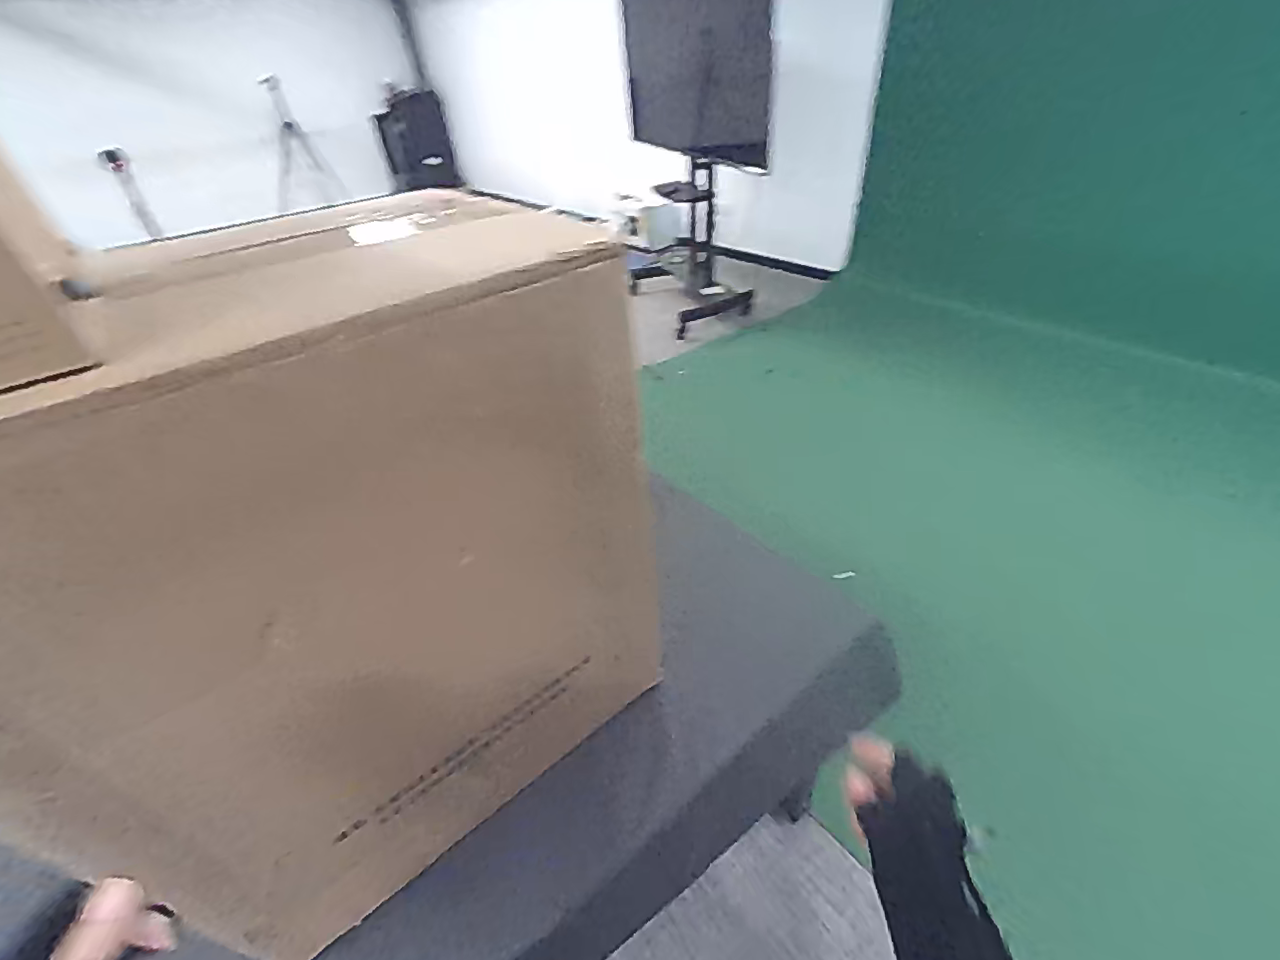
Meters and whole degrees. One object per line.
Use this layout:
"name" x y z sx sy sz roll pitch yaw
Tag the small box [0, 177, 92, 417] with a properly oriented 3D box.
"small box" -0.404 -0.112 0.246 0.179 0.176 0.168 -31 47 -31
